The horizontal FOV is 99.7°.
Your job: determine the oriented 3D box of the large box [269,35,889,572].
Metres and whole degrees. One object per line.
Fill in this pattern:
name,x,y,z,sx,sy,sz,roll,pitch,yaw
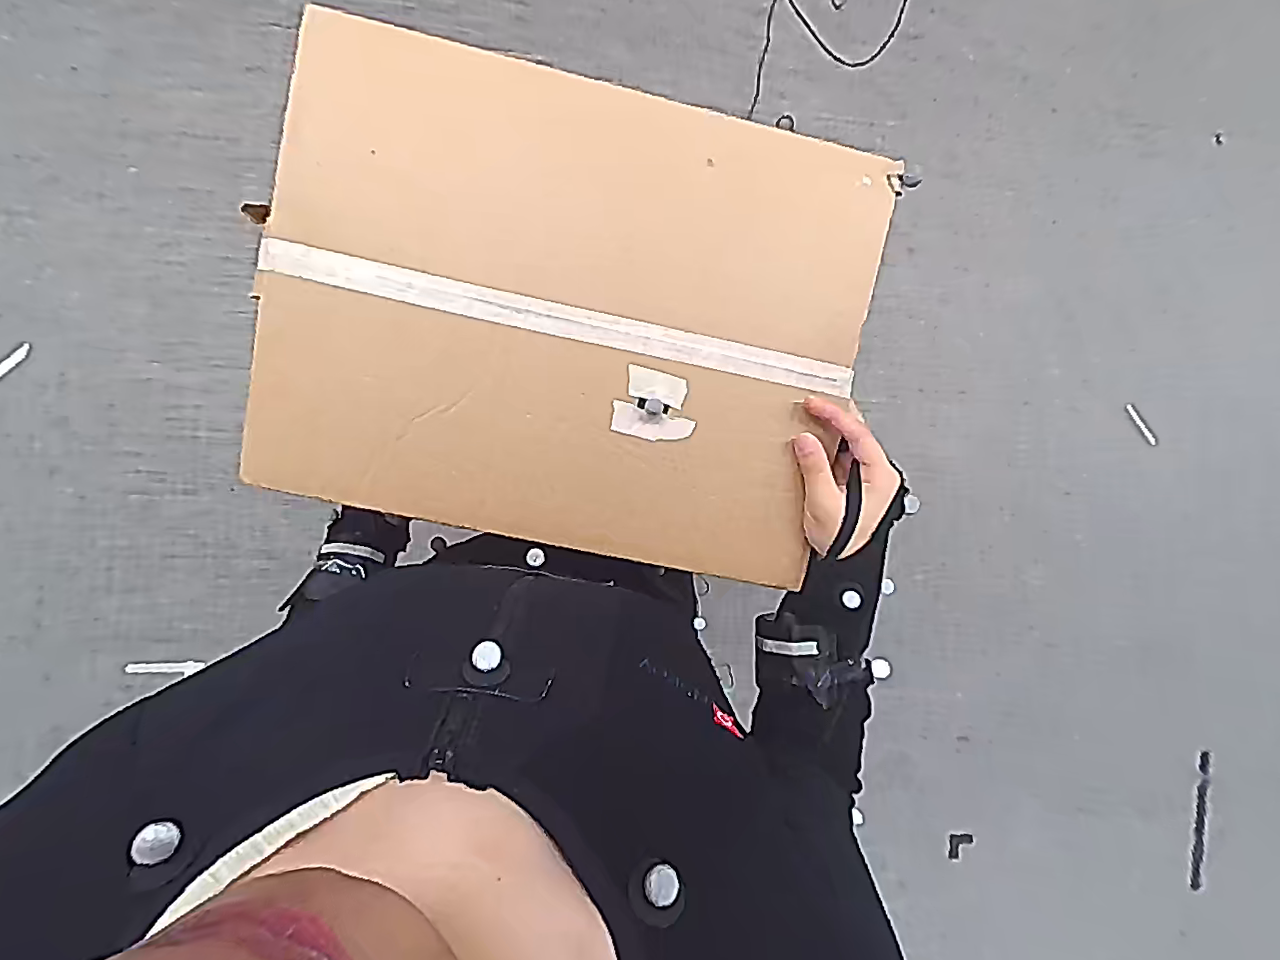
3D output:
large box,-0.053,-0.126,0.531,0.408,0.320,0.320,11,96,-6
